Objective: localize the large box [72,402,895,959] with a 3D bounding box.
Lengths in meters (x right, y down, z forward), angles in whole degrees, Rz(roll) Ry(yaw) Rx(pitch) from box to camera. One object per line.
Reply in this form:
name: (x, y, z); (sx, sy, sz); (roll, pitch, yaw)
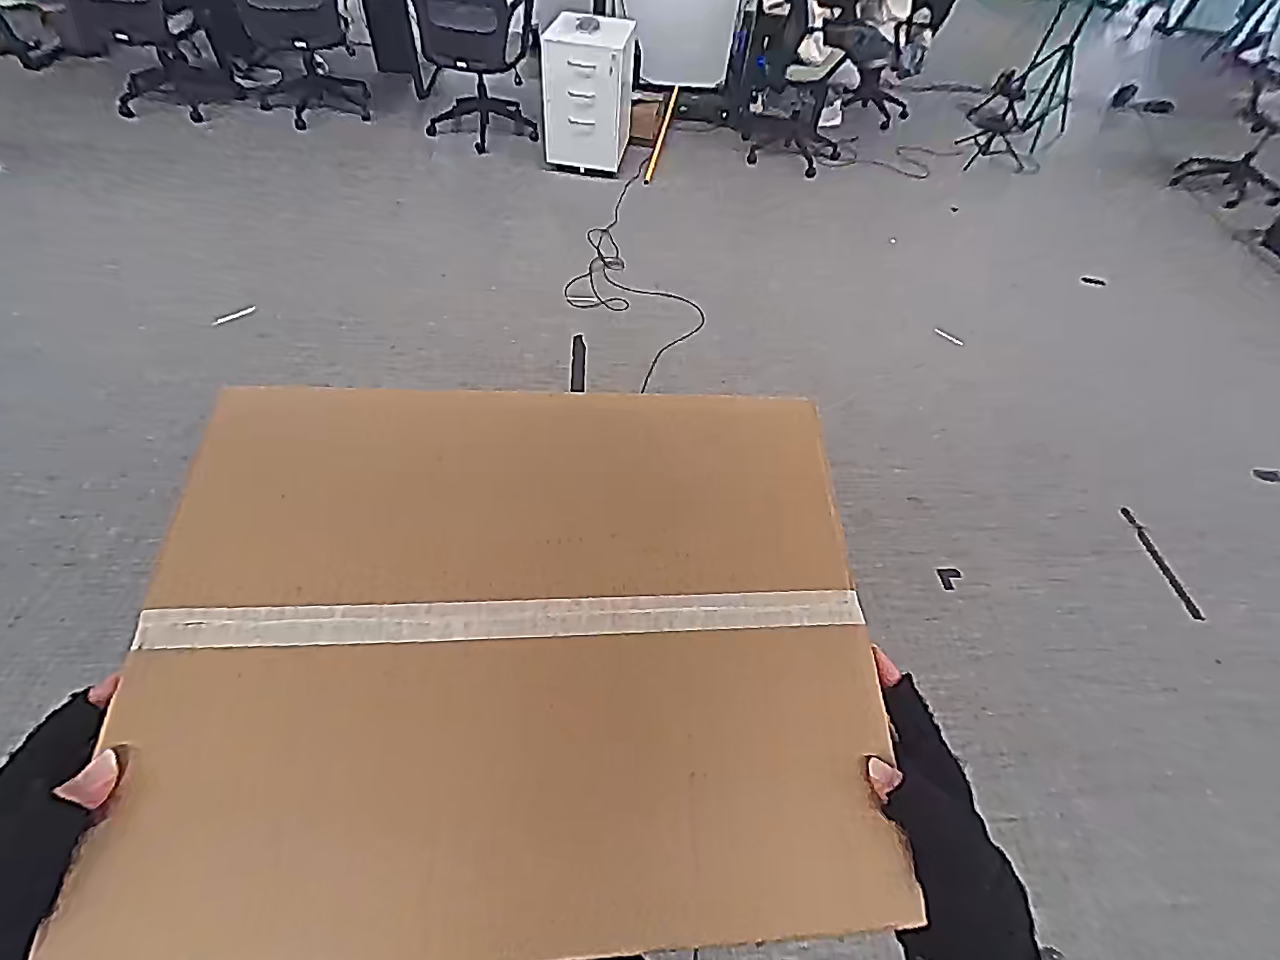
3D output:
large box: (-0.081, 0.146, 0.458); (0.408, 0.320, 0.320); (0, 64, -6)
